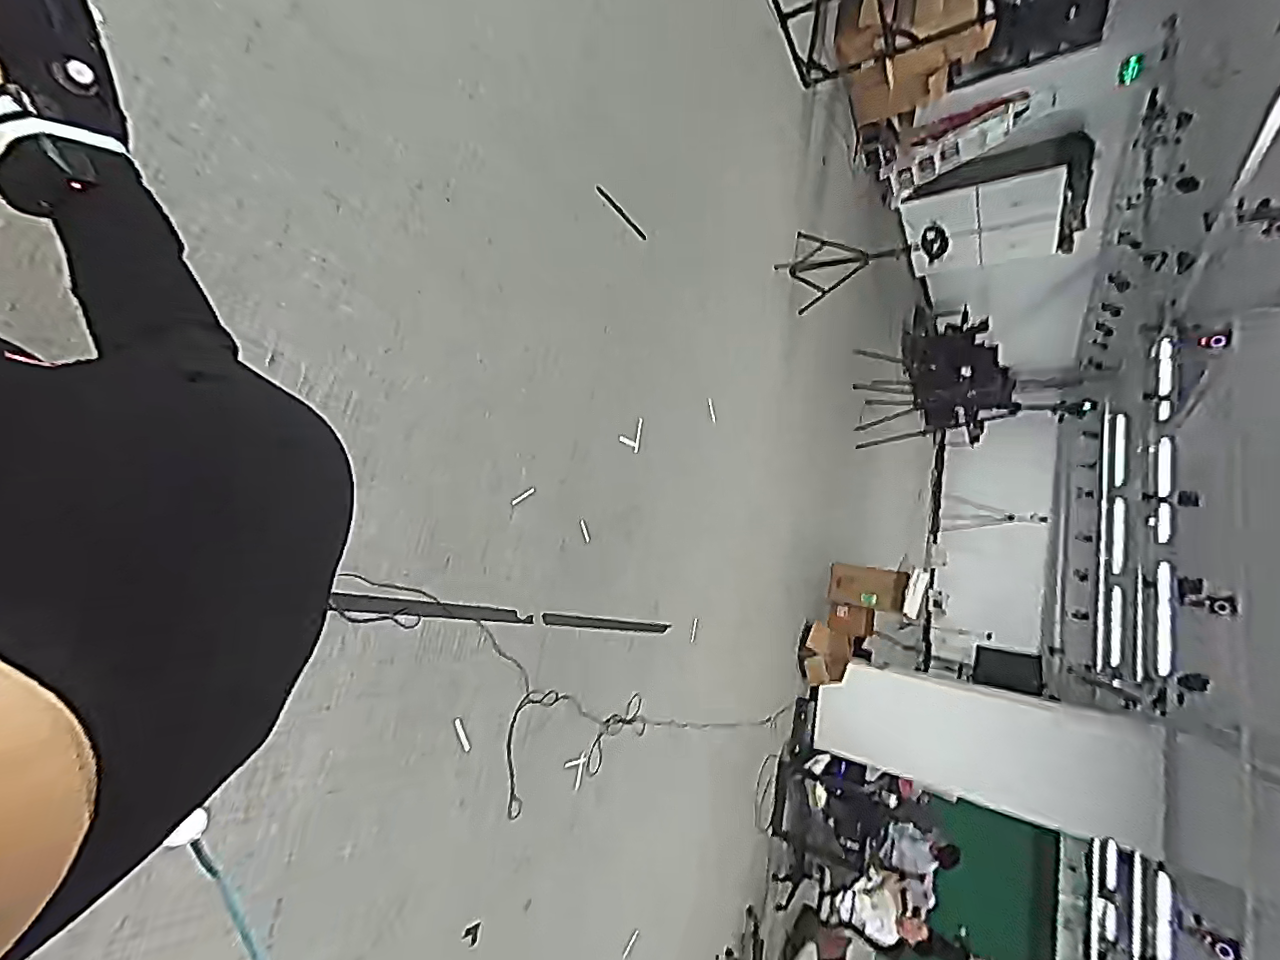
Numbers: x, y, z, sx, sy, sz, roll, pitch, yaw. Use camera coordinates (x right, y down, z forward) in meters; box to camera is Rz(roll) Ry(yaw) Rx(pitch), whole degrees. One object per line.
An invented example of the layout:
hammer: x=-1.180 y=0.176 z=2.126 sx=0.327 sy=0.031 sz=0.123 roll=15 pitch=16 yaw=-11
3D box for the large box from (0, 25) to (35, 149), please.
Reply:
large box: x=-0.690 y=-0.345 z=0.271 sx=0.408 sy=0.320 sz=0.320 roll=-35 pitch=125 yaw=-49
